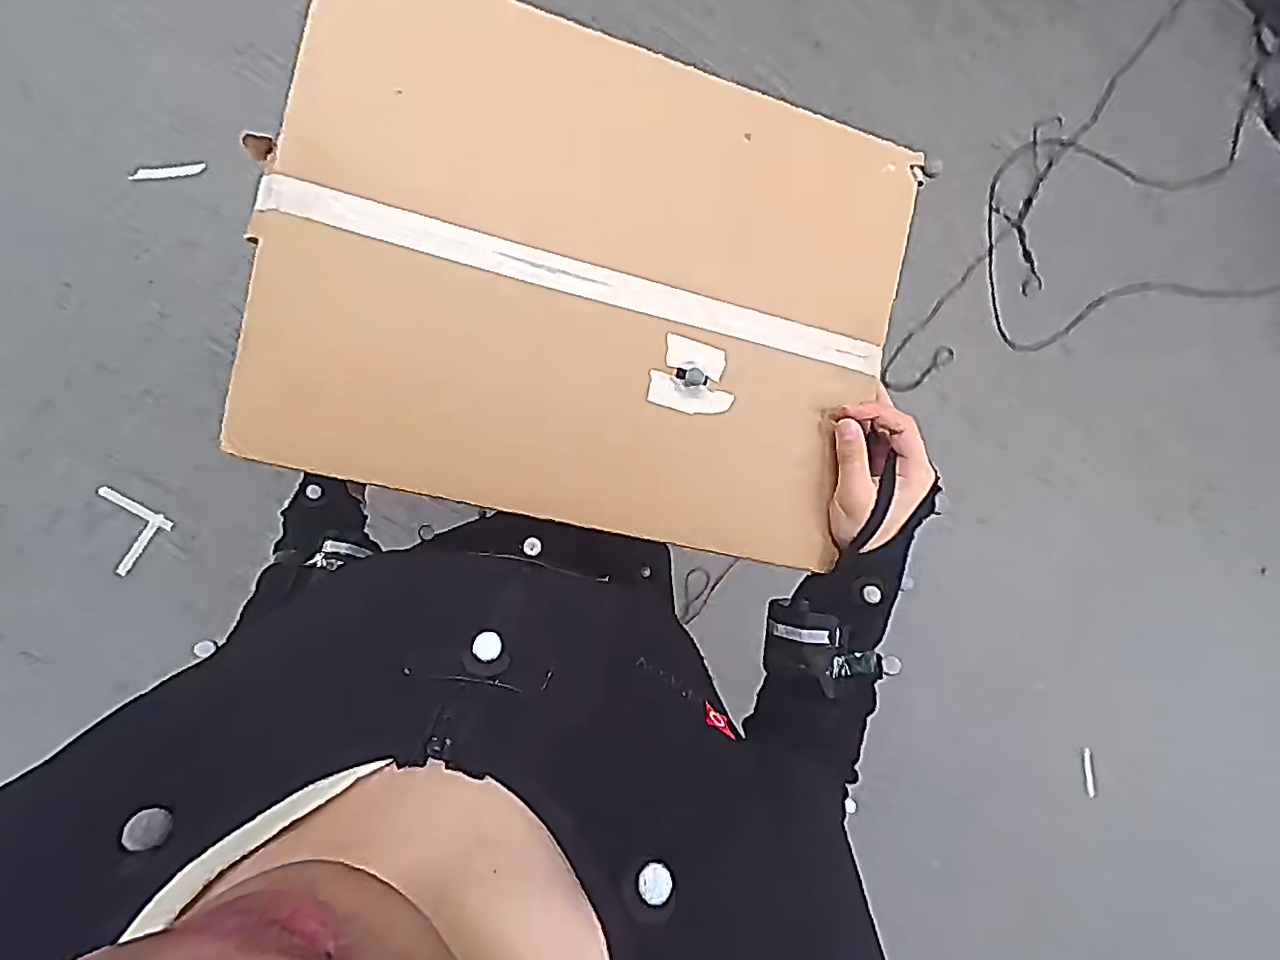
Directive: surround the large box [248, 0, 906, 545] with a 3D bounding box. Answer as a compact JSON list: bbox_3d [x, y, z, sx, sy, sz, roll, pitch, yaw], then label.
[{"bbox_3d":[-0.050,-0.141,0.507,0.408,0.320,0.320,12,91,-12],"label":"large box"}]
